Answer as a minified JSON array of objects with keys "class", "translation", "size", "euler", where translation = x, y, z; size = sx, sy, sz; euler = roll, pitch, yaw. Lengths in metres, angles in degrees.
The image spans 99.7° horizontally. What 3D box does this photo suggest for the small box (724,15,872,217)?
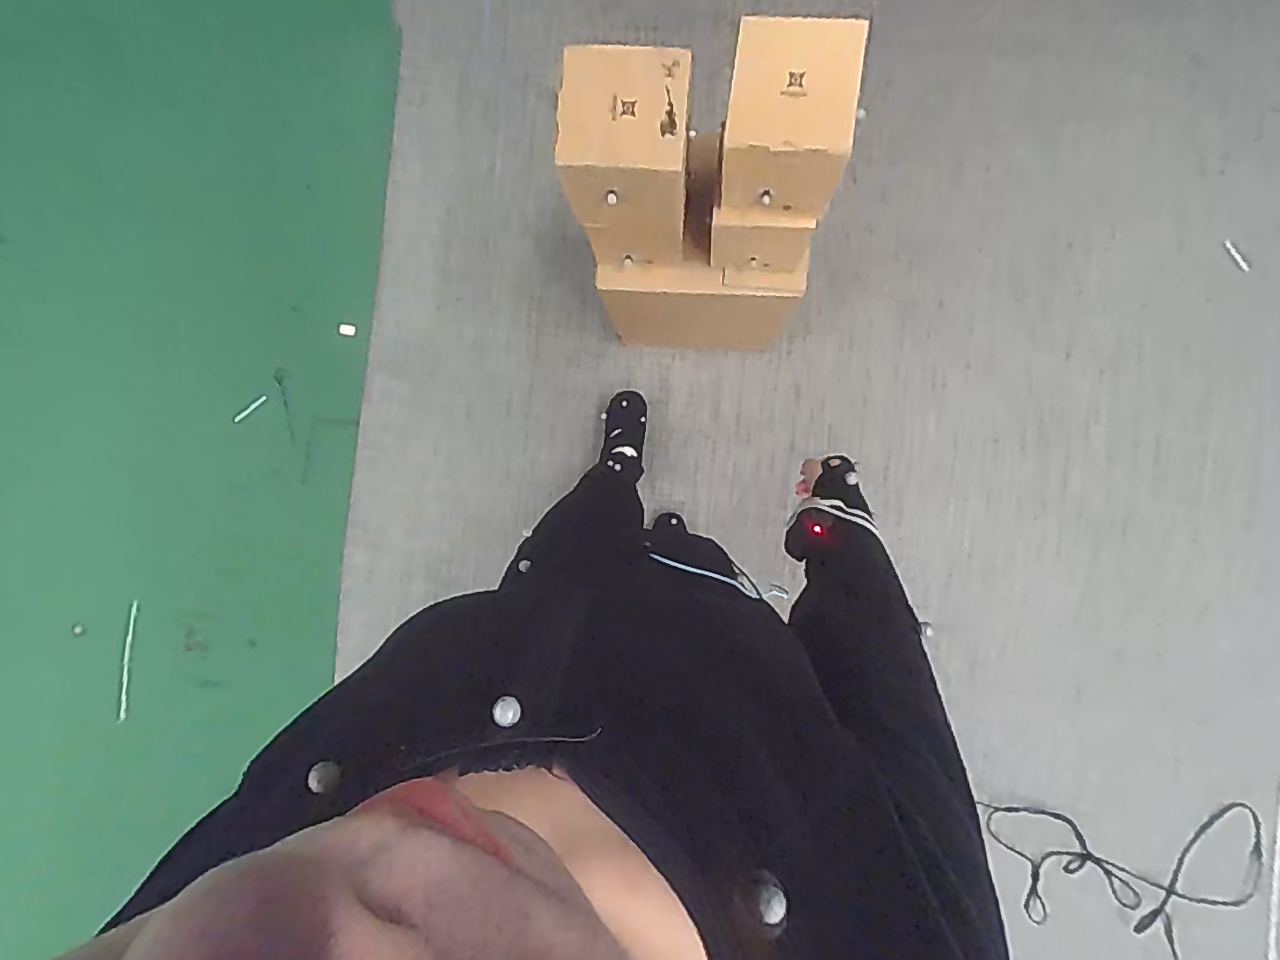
[{"class":"small box","translation":[0.217,-0.518,0.789],"size":[0.168,0.176,0.179],"euler":[9,90,6]}]
